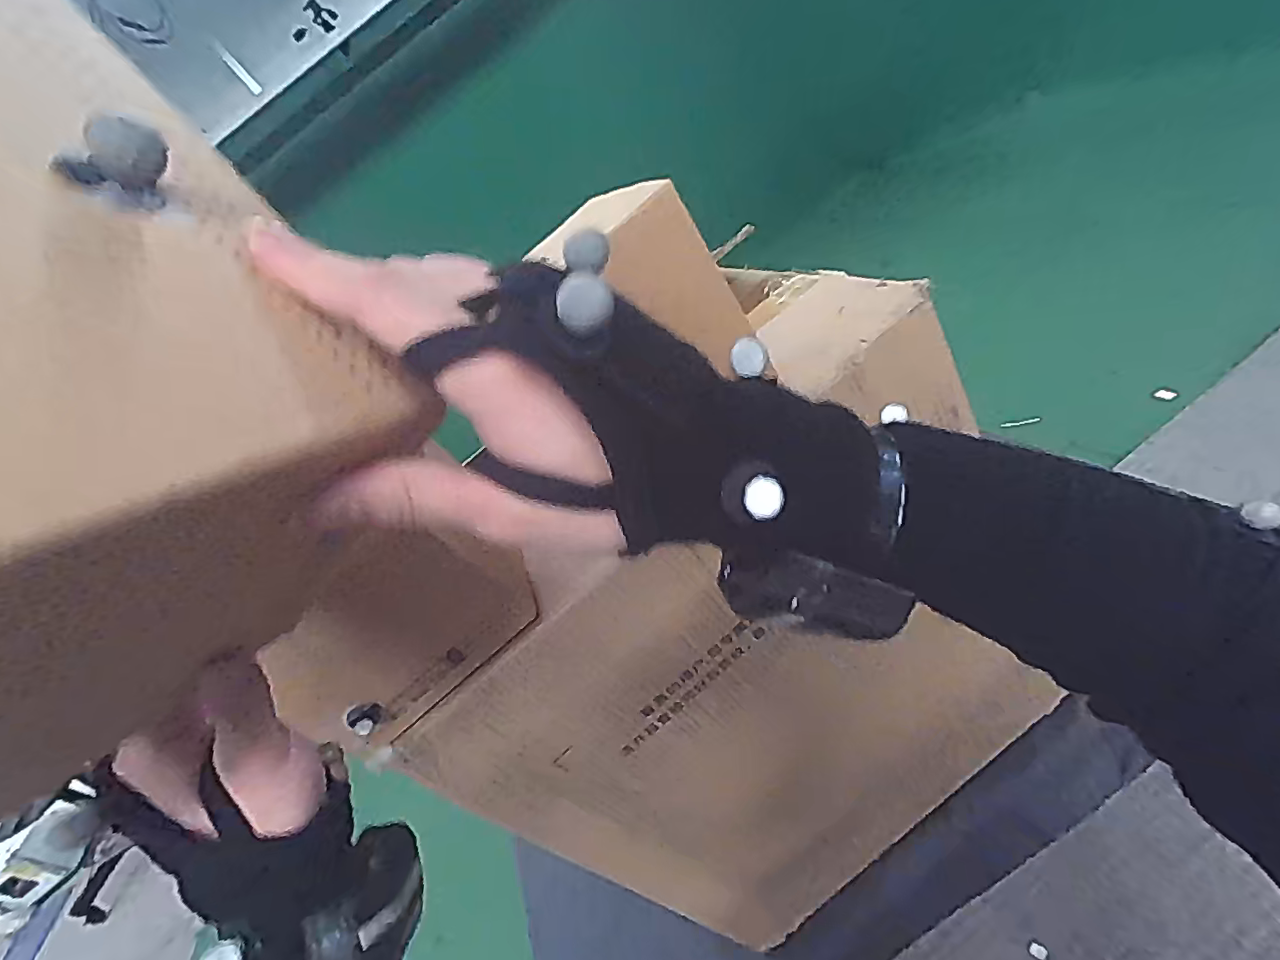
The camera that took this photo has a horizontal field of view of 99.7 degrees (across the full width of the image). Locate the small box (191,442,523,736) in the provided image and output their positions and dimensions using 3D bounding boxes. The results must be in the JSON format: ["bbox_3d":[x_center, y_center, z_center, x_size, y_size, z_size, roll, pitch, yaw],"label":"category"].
[{"bbox_3d":[-0.208,0.066,0.420,0.168,0.176,0.179,-41,29,1],"label":"small box"}]

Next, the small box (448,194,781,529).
[{"bbox_3d":[-0.026,-0.091,0.424,0.168,0.176,0.179,-42,31,-1],"label":"small box"}]

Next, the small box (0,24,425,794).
[{"bbox_3d":[-0.202,-0.012,0.144,0.168,0.179,0.176,-43,1,28],"label":"small box"}]
